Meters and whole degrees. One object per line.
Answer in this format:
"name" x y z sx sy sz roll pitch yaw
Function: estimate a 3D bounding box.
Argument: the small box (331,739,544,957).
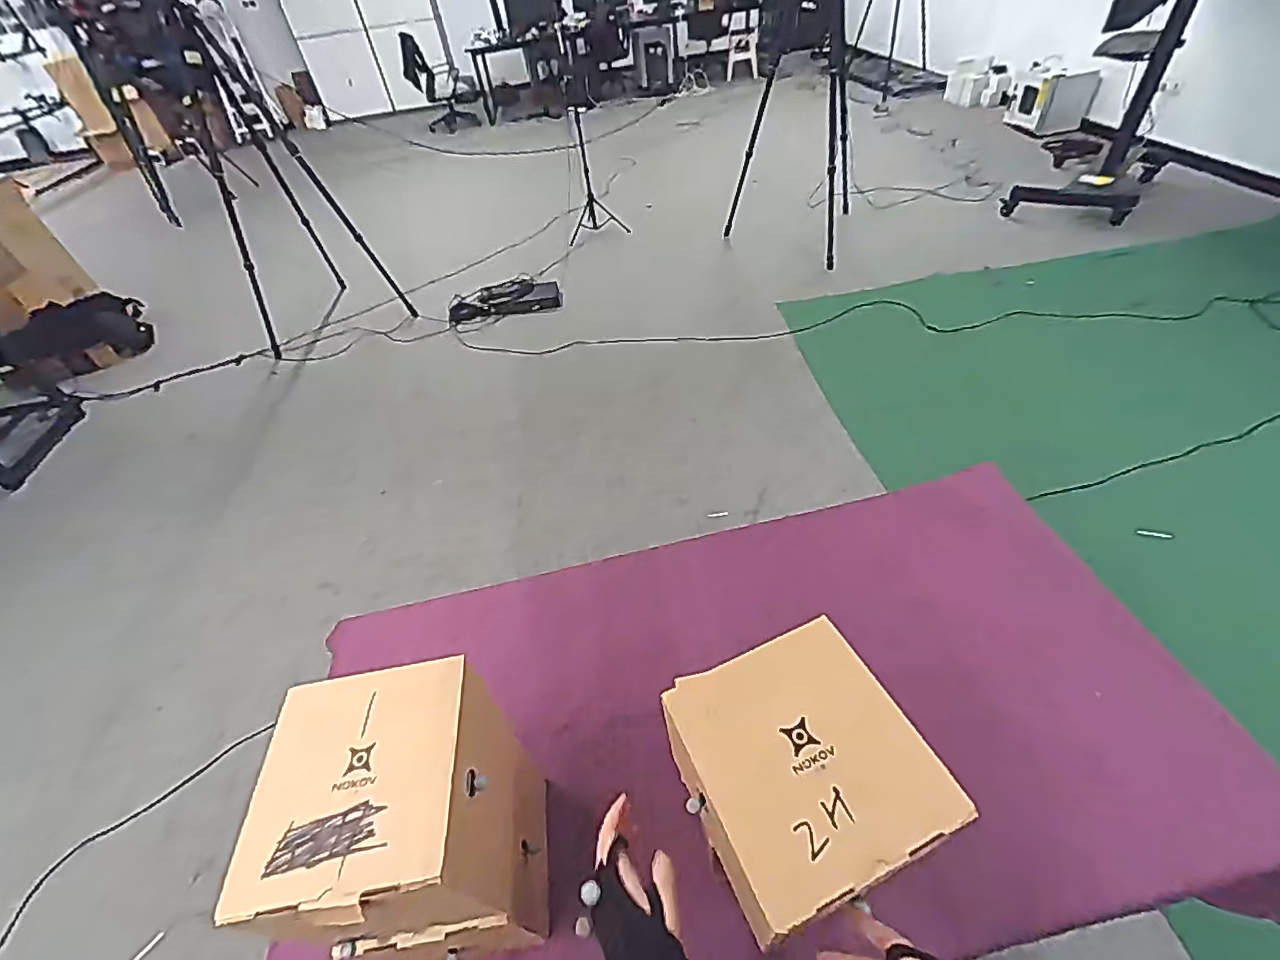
"small box" -0.207 0.411 0.609 0.168 0.176 0.179 -10 46 -2

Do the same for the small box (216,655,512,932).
"small box" -0.222 0.291 0.497 0.168 0.176 0.179 -9 44 -1

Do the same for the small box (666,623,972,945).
"small box" 0.133 0.264 0.473 0.168 0.176 0.179 -21 48 -11
